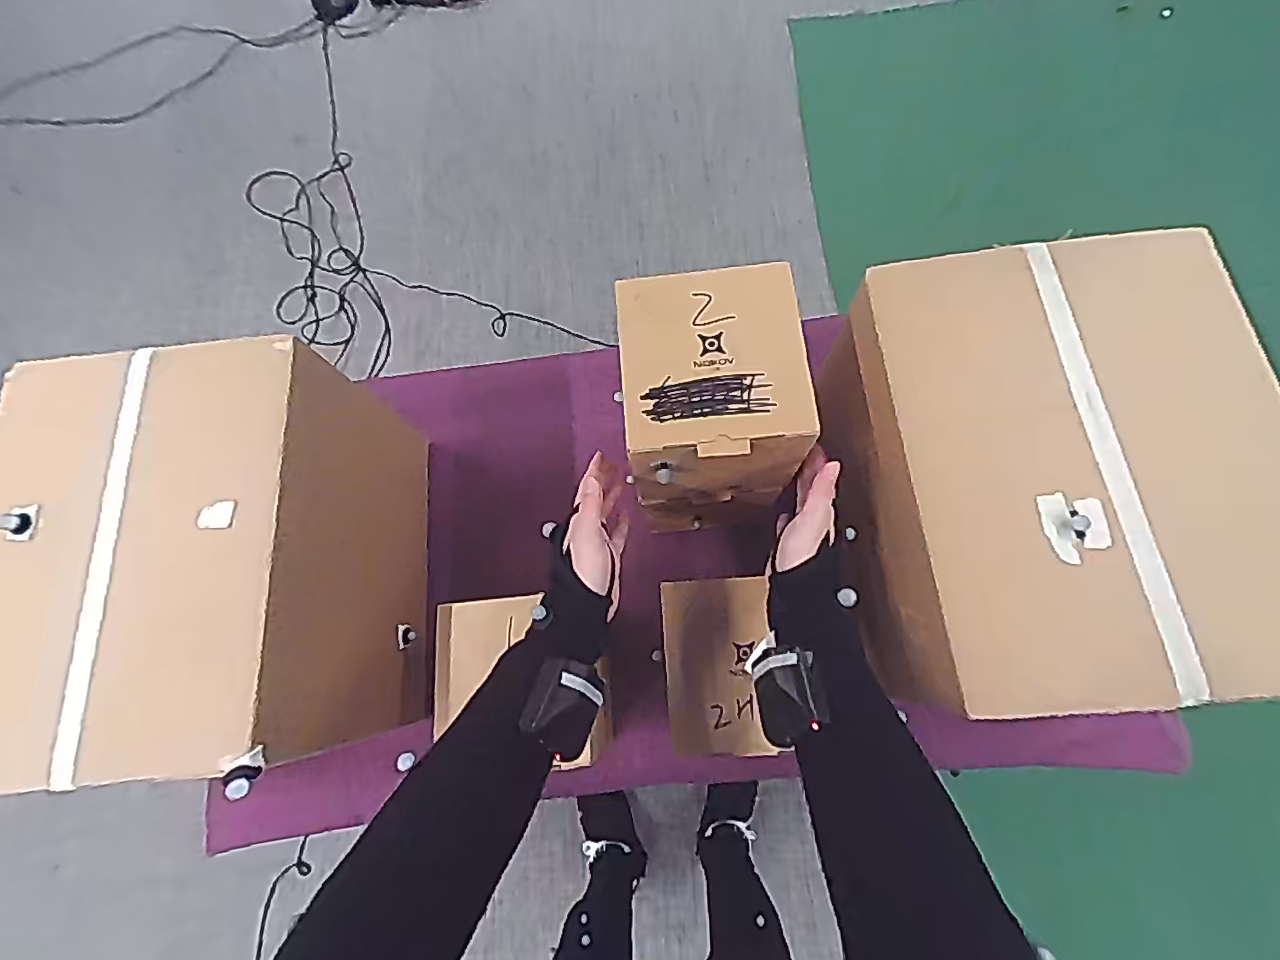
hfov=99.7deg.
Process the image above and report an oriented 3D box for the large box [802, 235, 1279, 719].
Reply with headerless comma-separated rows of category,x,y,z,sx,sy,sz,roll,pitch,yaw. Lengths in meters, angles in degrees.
large box,0.395,0.015,0.597,0.320,0.320,0.408,-6,73,4
